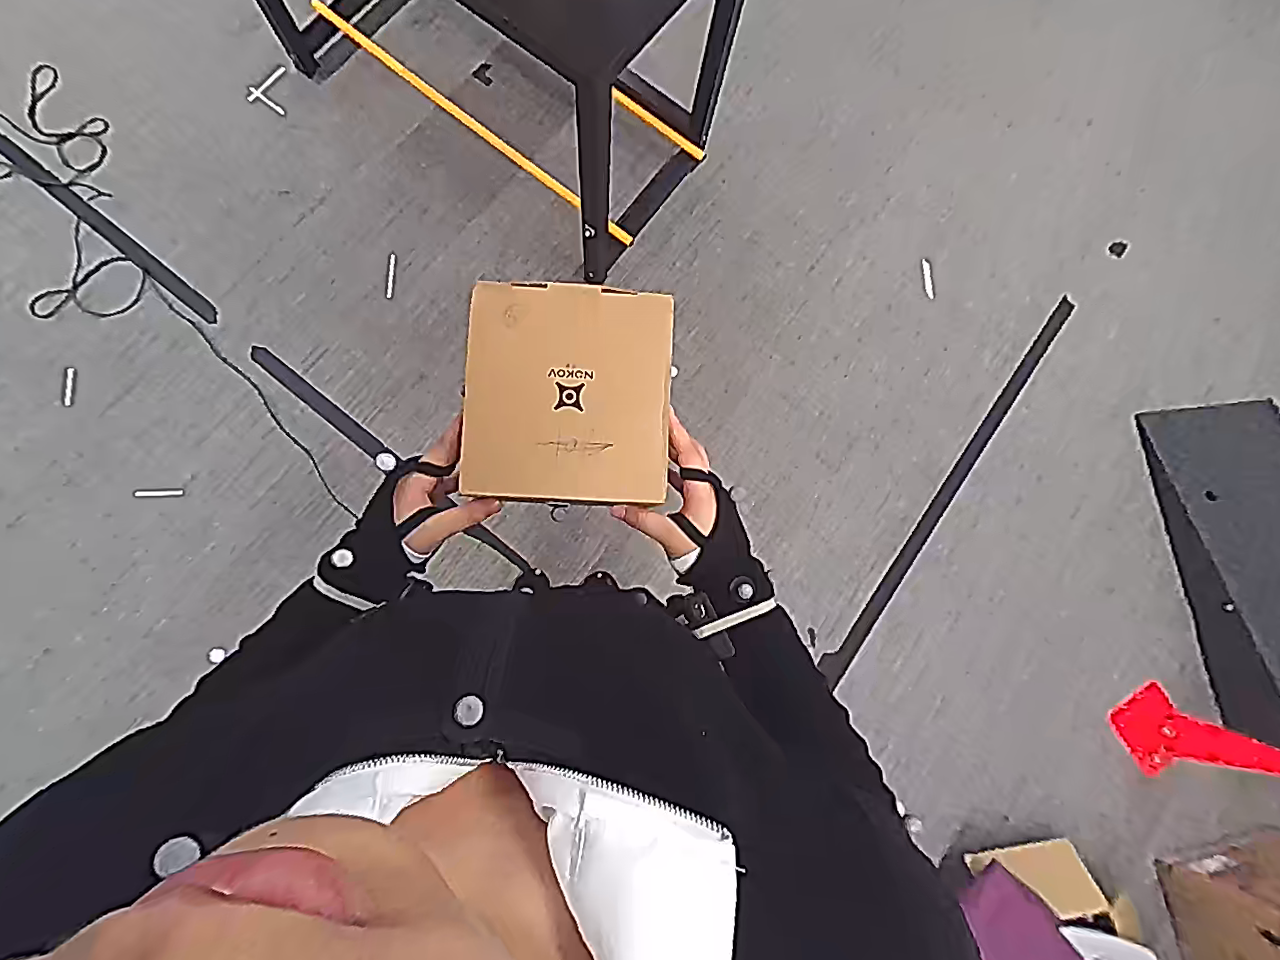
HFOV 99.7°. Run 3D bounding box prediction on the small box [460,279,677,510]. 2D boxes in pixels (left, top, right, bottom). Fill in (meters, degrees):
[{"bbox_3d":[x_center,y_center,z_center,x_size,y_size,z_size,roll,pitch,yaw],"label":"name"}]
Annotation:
[{"bbox_3d":[-0.062,-0.065,0.512,0.168,0.176,0.179,3,86,-4],"label":"small box"}]
